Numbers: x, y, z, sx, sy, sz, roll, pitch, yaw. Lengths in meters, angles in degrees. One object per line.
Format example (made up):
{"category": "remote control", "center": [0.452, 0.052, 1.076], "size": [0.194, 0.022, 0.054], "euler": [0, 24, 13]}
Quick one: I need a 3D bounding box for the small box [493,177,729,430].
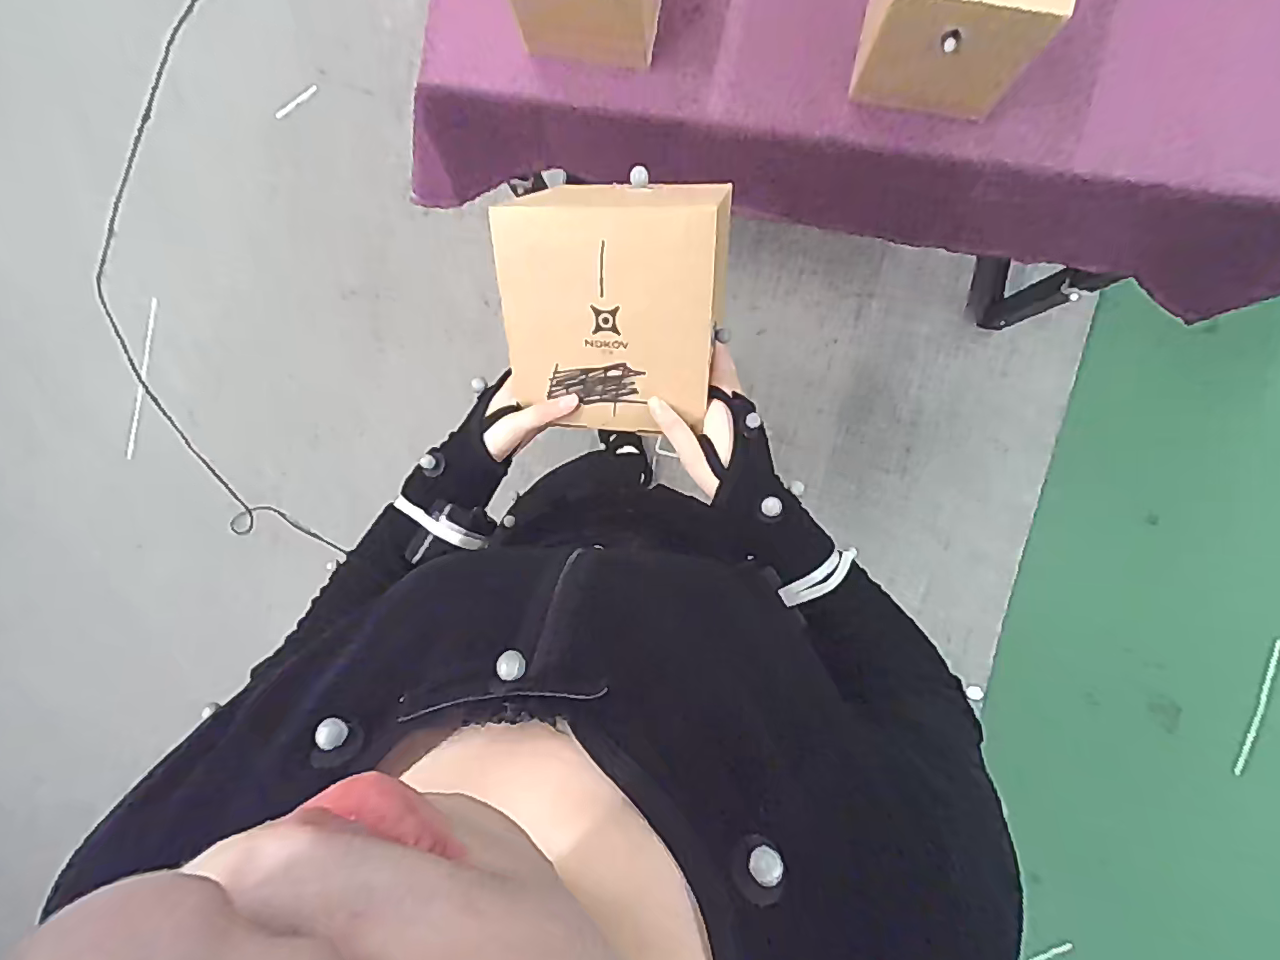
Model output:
{"category": "small box", "center": [-0.011, -0.166, 0.488], "size": [0.168, 0.176, 0.179], "euler": [5, 123, 9]}

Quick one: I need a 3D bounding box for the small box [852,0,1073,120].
{"category": "small box", "center": [0.367, -0.554, 0.621], "size": [0.179, 0.176, 0.168], "euler": [13, 94, 3]}

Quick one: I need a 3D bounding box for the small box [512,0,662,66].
{"category": "small box", "center": [-0.063, -0.644, 0.649], "size": [0.179, 0.176, 0.168], "euler": [11, 93, 3]}
